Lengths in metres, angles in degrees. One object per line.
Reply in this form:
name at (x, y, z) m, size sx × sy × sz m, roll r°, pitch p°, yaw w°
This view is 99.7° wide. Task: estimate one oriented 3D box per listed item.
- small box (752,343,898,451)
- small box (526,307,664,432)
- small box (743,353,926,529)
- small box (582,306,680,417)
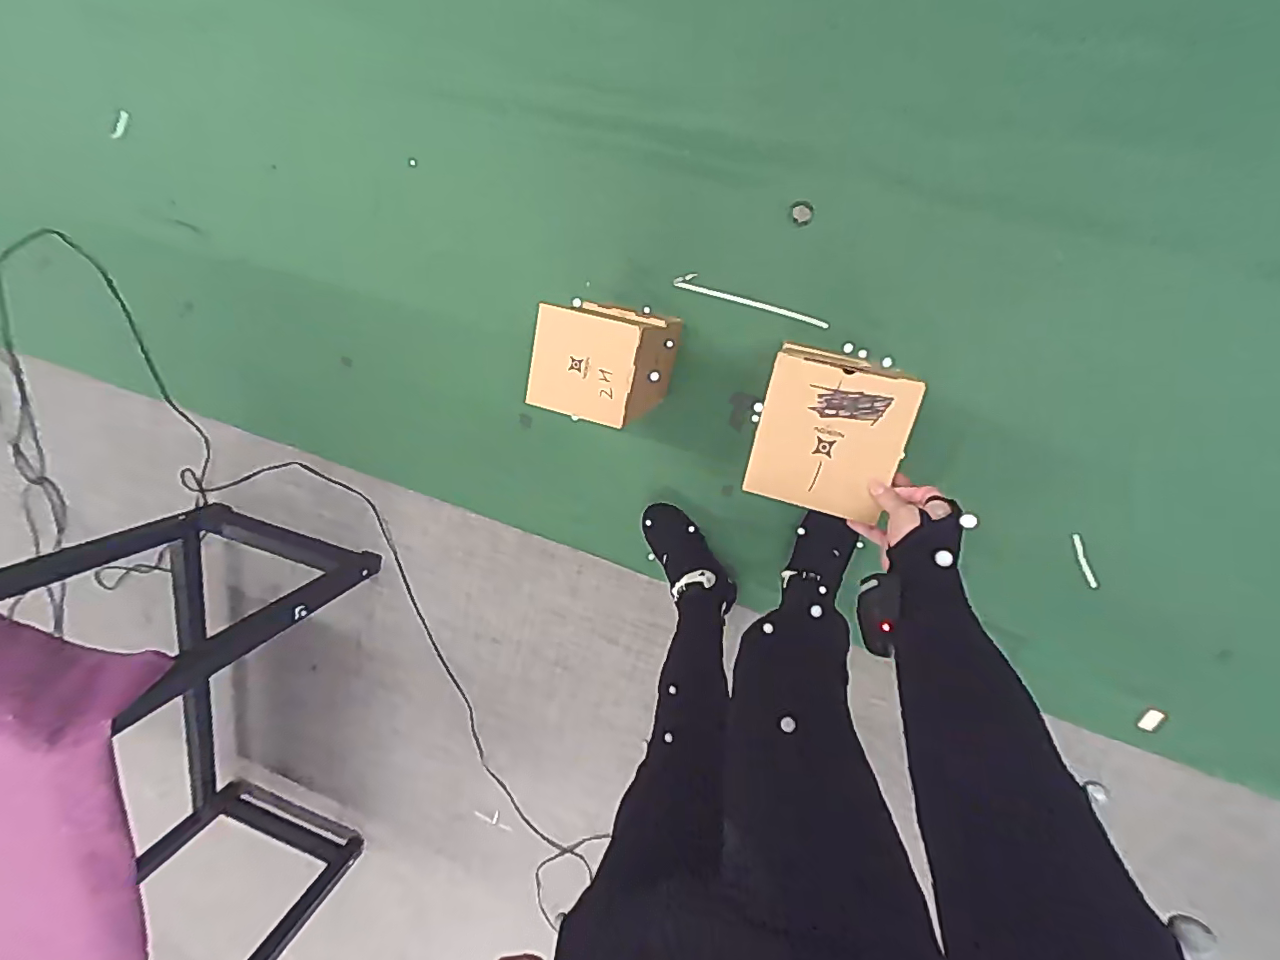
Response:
small box at (0.286, -0.111, 0.860) m, size 0.168 × 0.176 × 0.179 m, roll 16°, pitch 109°, yaw 10°
small box at (-0.073, -0.195, 0.937) m, size 0.179 × 0.176 × 0.168 m, roll 16°, pitch 109°, yaw 11°
small box at (0.244, -0.063, 0.703) m, size 0.168 × 0.176 × 0.179 m, roll 16°, pitch 110°, yaw 15°
small box at (-0.026, -0.240, 1.089) m, size 0.168 × 0.176 × 0.179 m, roll 16°, pitch 108°, yaw 11°
